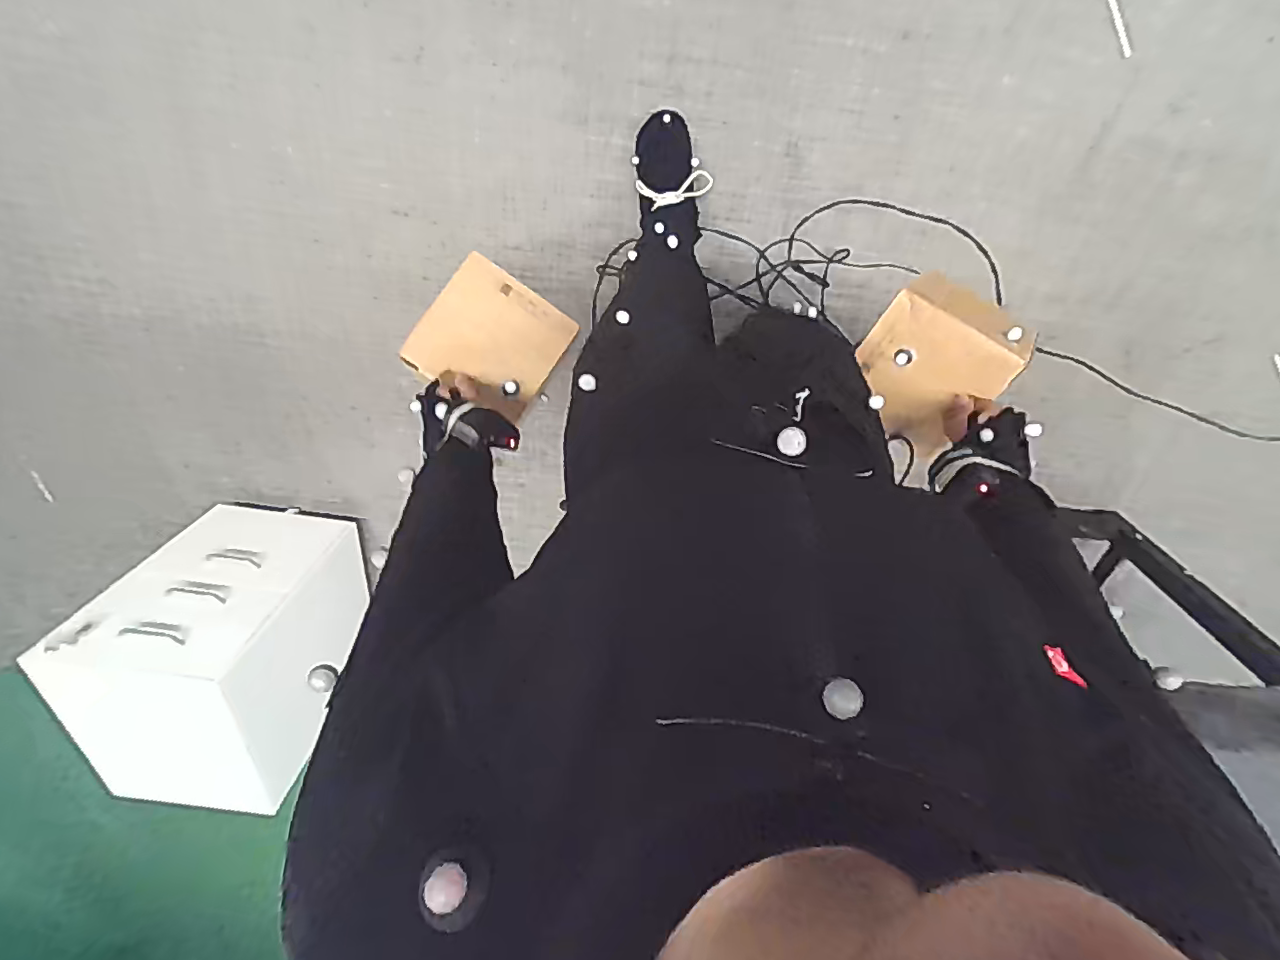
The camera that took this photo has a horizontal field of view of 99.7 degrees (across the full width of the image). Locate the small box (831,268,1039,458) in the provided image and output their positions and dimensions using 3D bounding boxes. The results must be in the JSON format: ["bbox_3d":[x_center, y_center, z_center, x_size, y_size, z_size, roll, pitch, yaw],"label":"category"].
[{"bbox_3d":[0.394,-0.166,0.730,0.176,0.179,0.168,42,133,14],"label":"small box"}]
